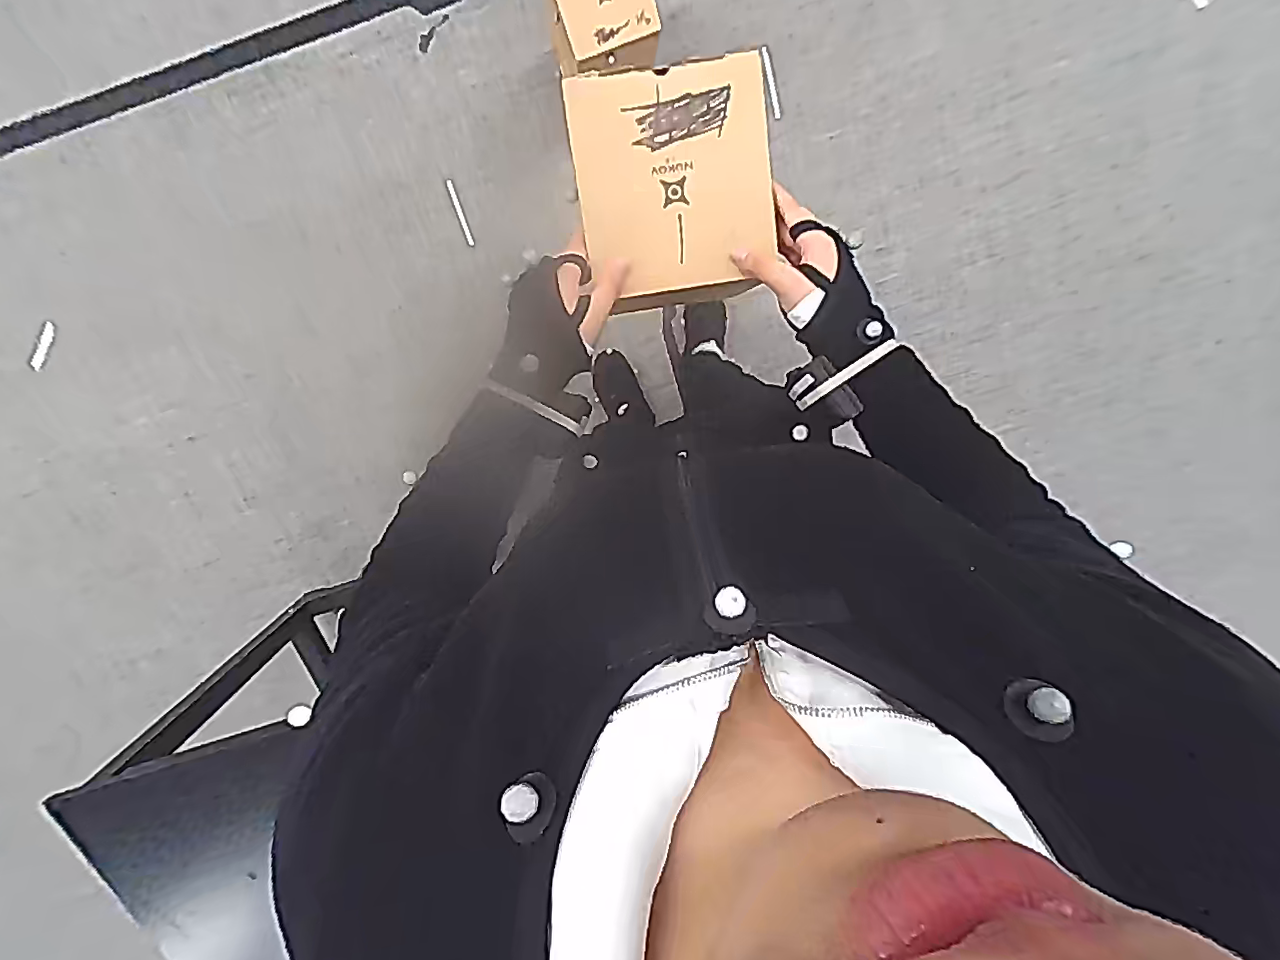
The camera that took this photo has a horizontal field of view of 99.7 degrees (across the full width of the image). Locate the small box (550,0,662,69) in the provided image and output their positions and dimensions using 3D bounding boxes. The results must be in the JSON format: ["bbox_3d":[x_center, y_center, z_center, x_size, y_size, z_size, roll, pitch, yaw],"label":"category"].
[{"bbox_3d":[-0.070,-0.867,1.022,0.168,0.176,0.179,-20,104,2],"label":"small box"}]

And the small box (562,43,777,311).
[{"bbox_3d":[0.024,-0.275,0.531,0.168,0.176,0.179,-9,103,0],"label":"small box"}]
